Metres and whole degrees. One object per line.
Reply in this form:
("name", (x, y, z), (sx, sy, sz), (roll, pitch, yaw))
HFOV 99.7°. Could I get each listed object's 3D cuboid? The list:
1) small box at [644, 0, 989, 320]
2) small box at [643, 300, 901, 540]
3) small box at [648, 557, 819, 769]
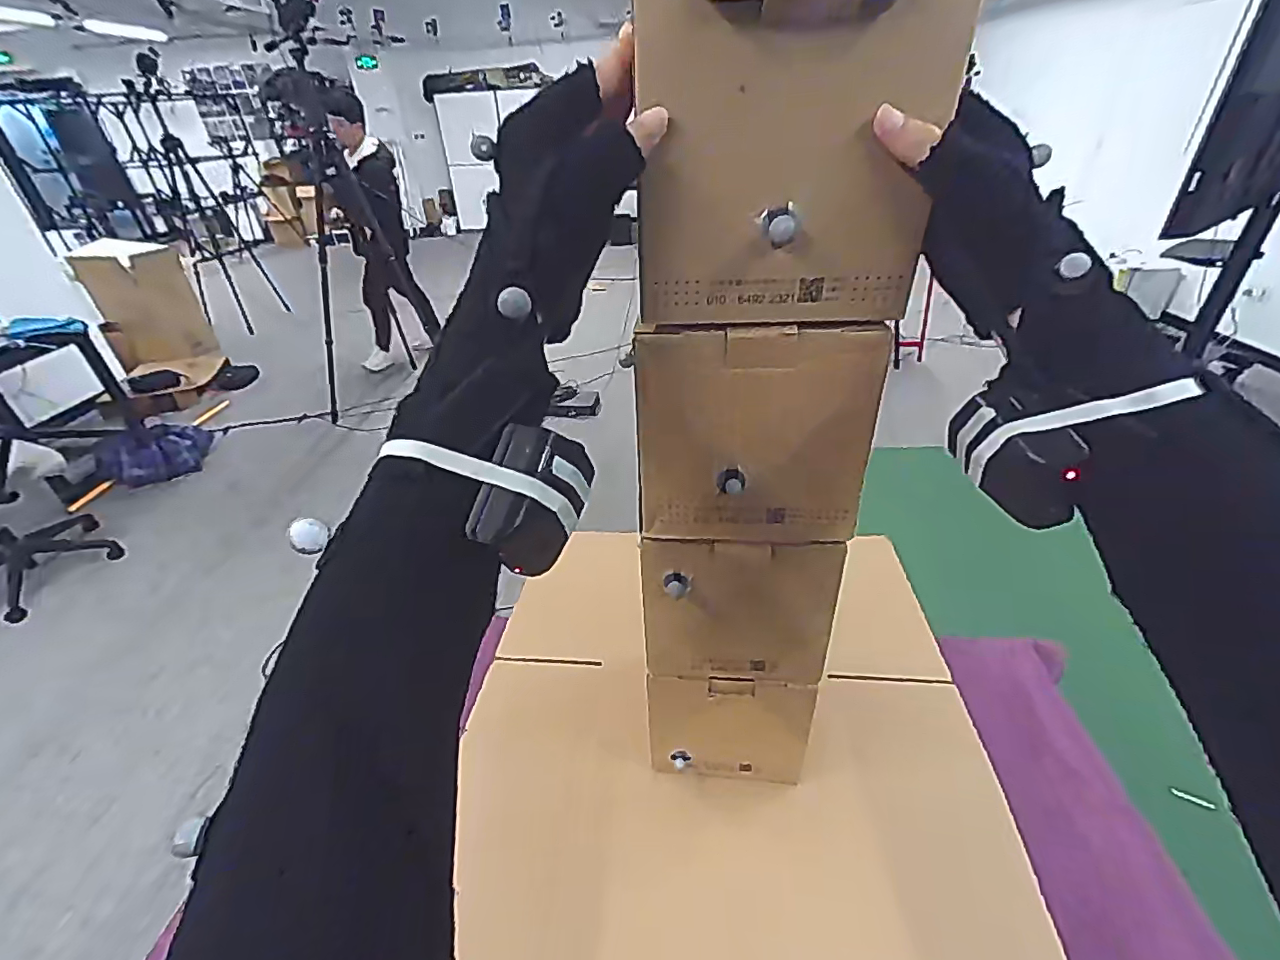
("small box", (0.087, -0.216, 0.363), (0.168, 0.176, 0.179), (0, 35, 2))
("small box", (0.089, -0.070, 0.455), (0.168, 0.176, 0.179), (1, 32, 4))
("small box", (0.099, 0.210, 0.627), (0.168, 0.176, 0.179), (0, 34, 4))
